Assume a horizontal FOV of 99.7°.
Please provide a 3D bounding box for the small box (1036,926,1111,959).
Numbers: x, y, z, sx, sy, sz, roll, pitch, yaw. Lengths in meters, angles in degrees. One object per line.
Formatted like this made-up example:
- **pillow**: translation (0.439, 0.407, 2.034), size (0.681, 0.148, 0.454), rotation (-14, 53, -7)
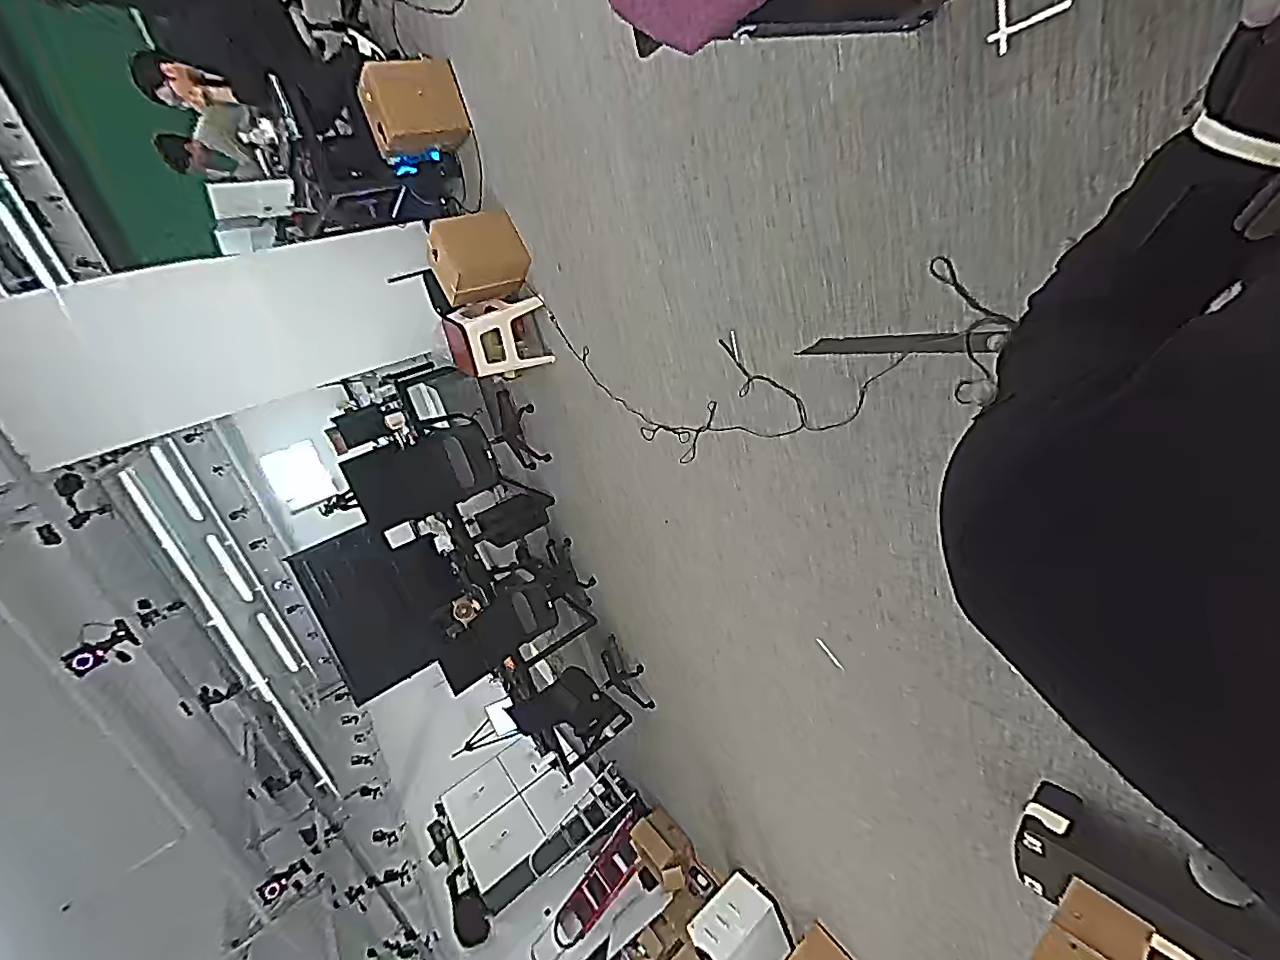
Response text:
- **small box**: translation (1.102, 1.285, 1.346), size (0.168, 0.176, 0.179), rotation (13, 125, 55)

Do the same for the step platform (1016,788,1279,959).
- **step platform**: translation (1.416, 1.171, 1.441), size (0.684, 0.204, 0.286), rotation (15, 127, 53)
